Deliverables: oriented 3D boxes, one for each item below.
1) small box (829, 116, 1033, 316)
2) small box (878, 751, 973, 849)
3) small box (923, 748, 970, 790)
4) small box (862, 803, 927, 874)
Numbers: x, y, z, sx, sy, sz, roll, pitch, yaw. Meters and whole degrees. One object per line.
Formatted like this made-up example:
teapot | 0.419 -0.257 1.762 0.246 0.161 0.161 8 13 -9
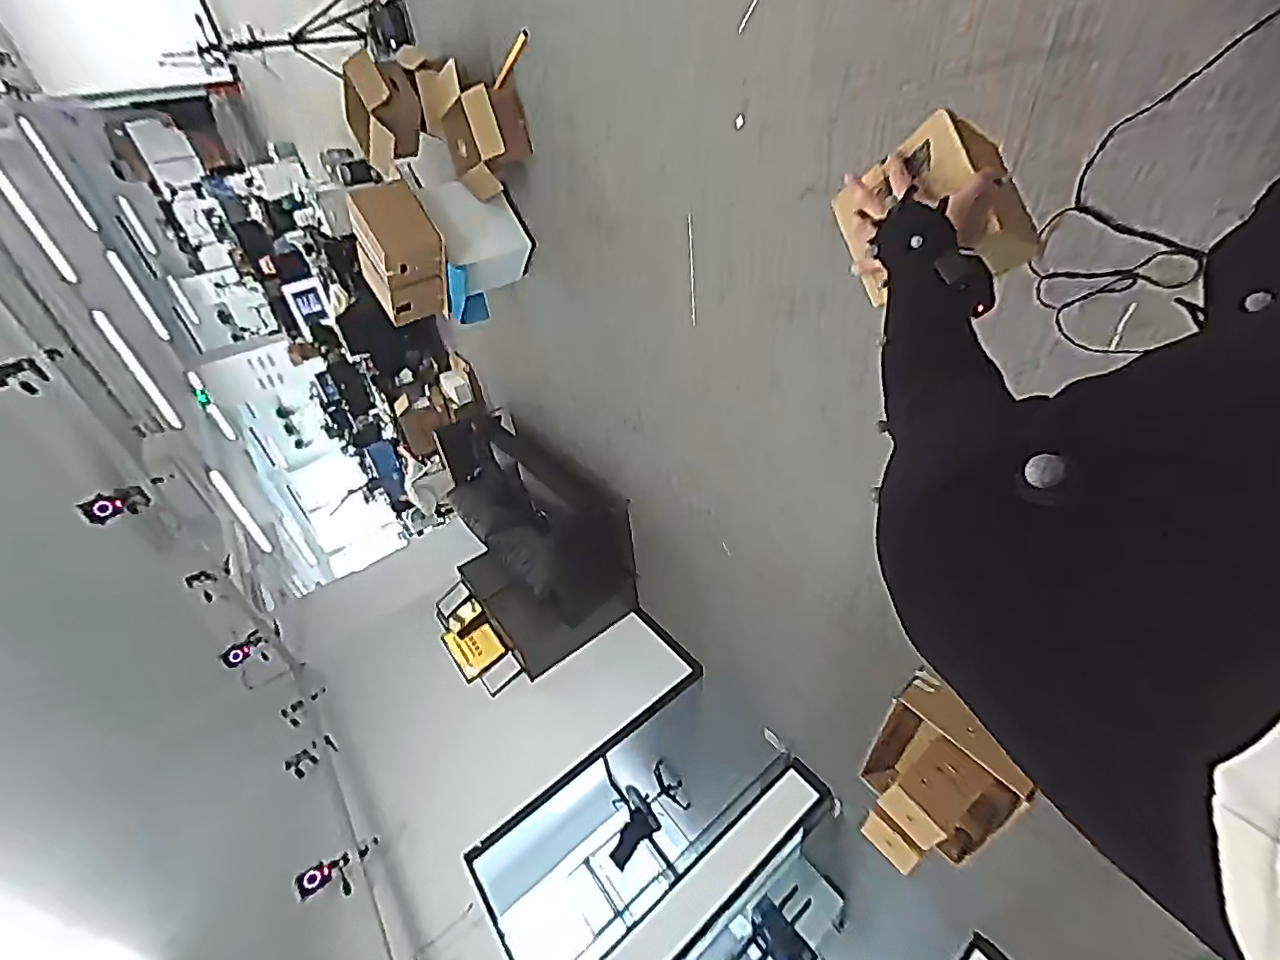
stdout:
small box | 0.403 -0.349 0.754 0.168 0.176 0.179 -30 73 49
small box | 0.852 0.947 1.610 0.168 0.176 0.179 42 148 34
small box | 0.991 1.066 1.850 0.168 0.176 0.179 36 143 38
small box | 0.865 1.132 1.772 0.168 0.176 0.179 37 143 39
